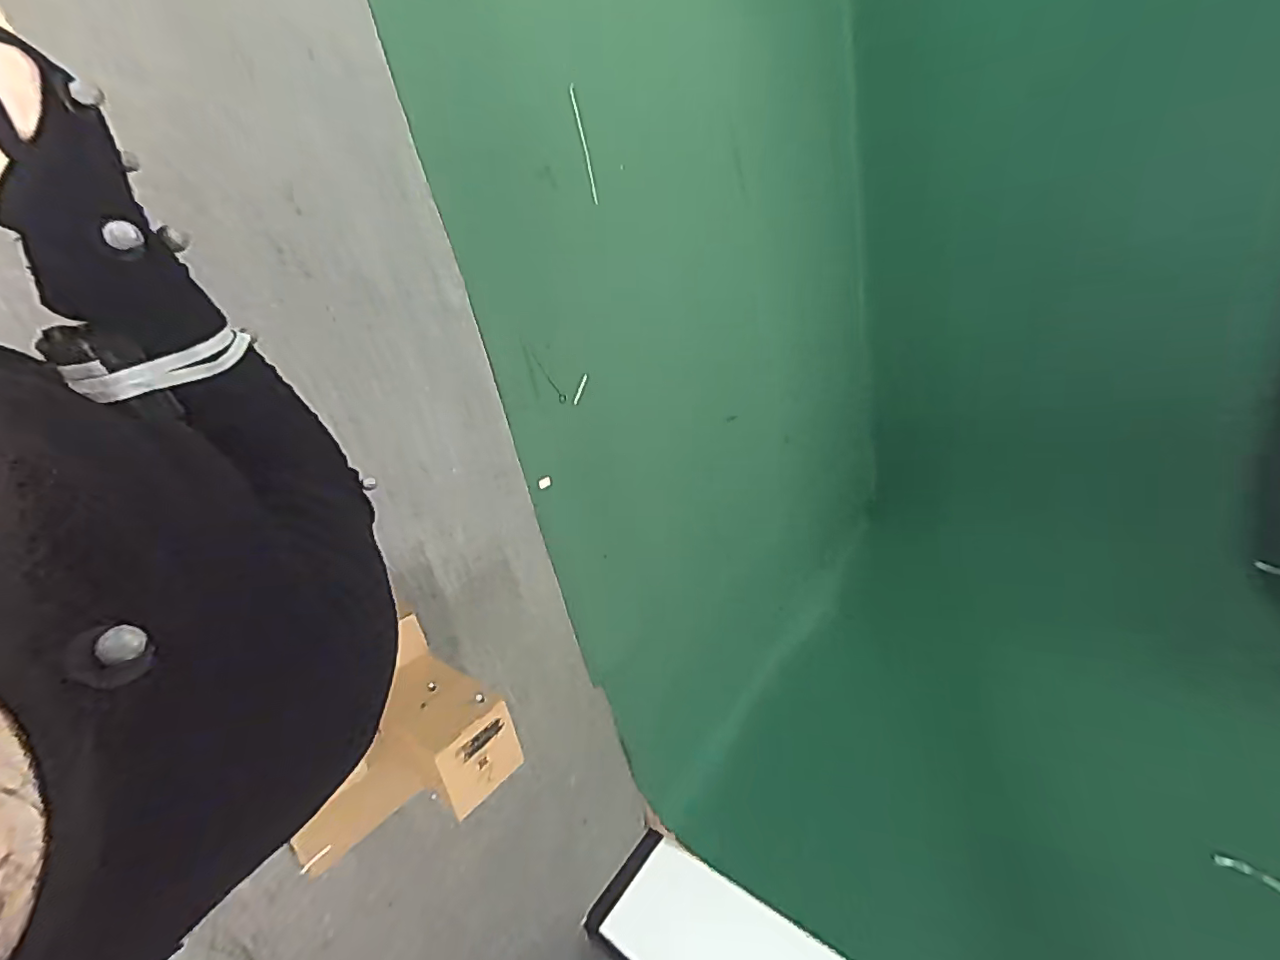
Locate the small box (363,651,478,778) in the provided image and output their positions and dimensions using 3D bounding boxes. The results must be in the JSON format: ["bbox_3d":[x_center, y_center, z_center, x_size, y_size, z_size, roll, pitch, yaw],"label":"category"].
[{"bbox_3d":[-0.504,0.528,1.244,0.168,0.176,0.179,-26,117,-44],"label":"small box"}]
